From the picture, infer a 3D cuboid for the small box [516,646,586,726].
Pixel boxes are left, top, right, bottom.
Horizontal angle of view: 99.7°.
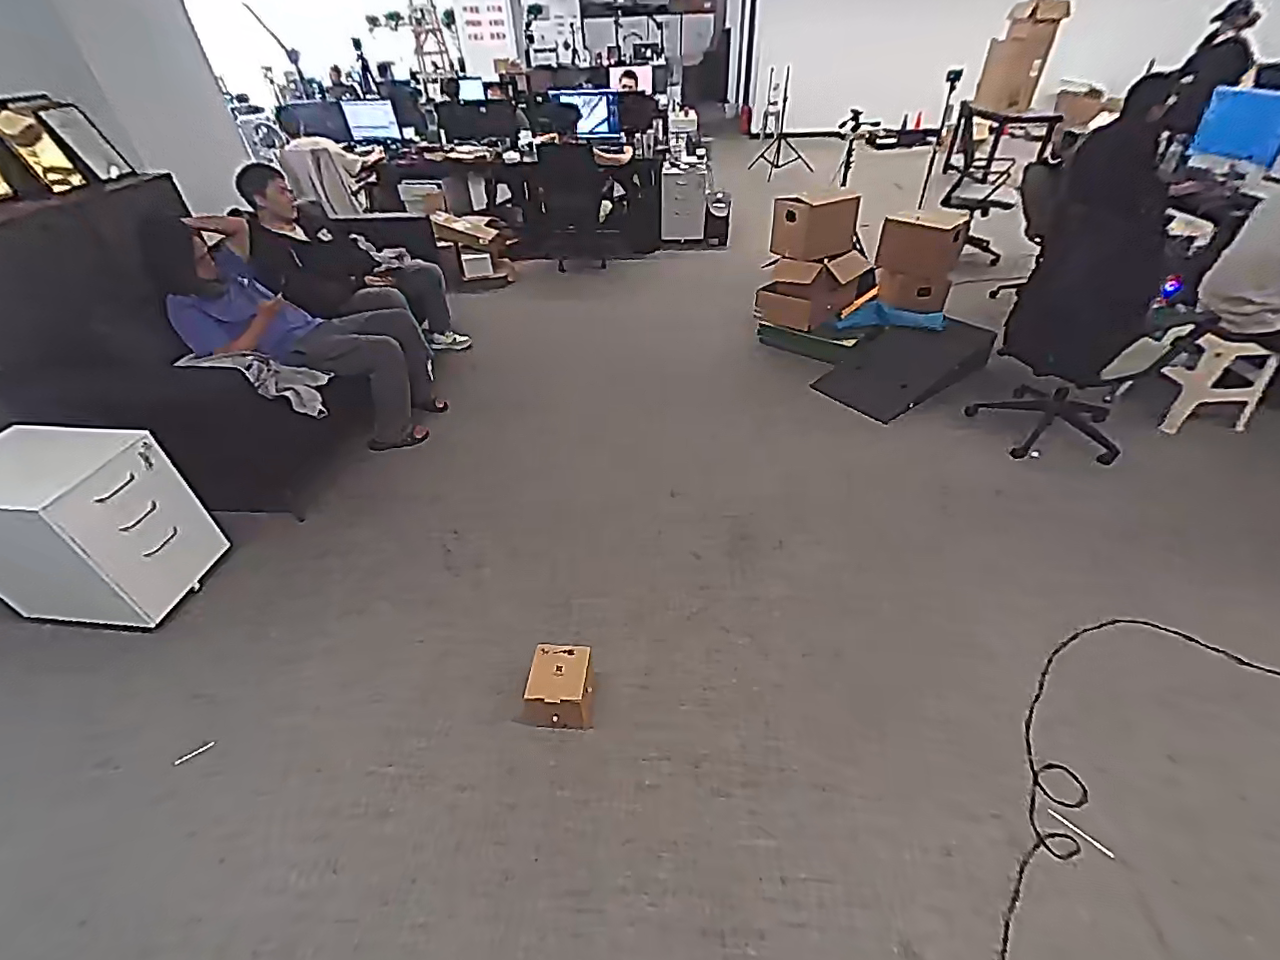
[{"bbox_3d":[-0.259,0.621,1.624,0.168,0.176,0.179,0,39,3],"label":"small box"}]
